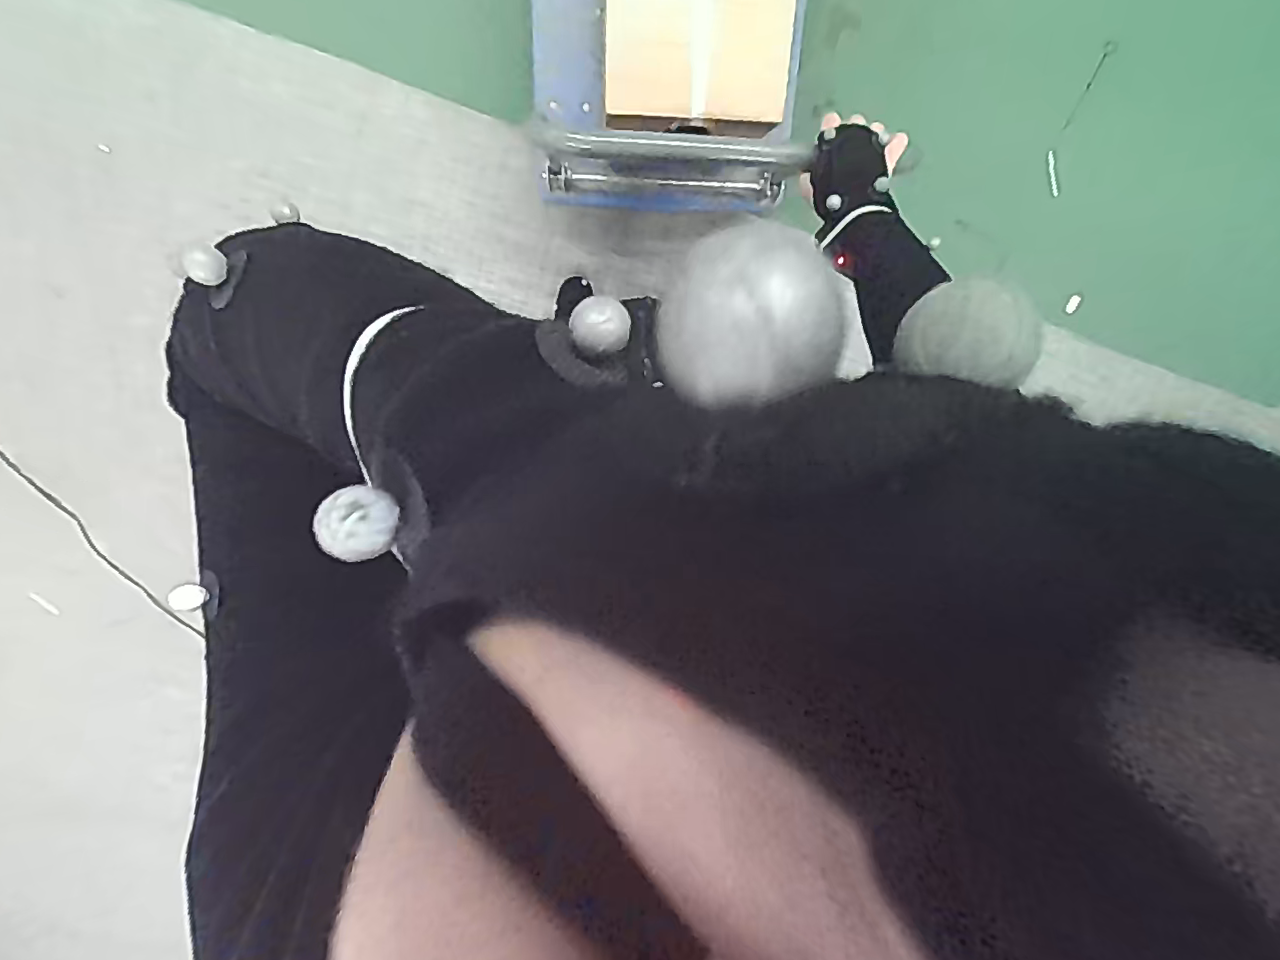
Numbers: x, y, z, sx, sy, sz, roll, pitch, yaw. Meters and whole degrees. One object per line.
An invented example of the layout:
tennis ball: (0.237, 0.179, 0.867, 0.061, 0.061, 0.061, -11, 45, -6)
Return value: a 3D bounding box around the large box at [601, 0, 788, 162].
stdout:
large box: (0.085, -0.859, 1.020, 0.320, 0.320, 0.408, 0, 110, -5)
